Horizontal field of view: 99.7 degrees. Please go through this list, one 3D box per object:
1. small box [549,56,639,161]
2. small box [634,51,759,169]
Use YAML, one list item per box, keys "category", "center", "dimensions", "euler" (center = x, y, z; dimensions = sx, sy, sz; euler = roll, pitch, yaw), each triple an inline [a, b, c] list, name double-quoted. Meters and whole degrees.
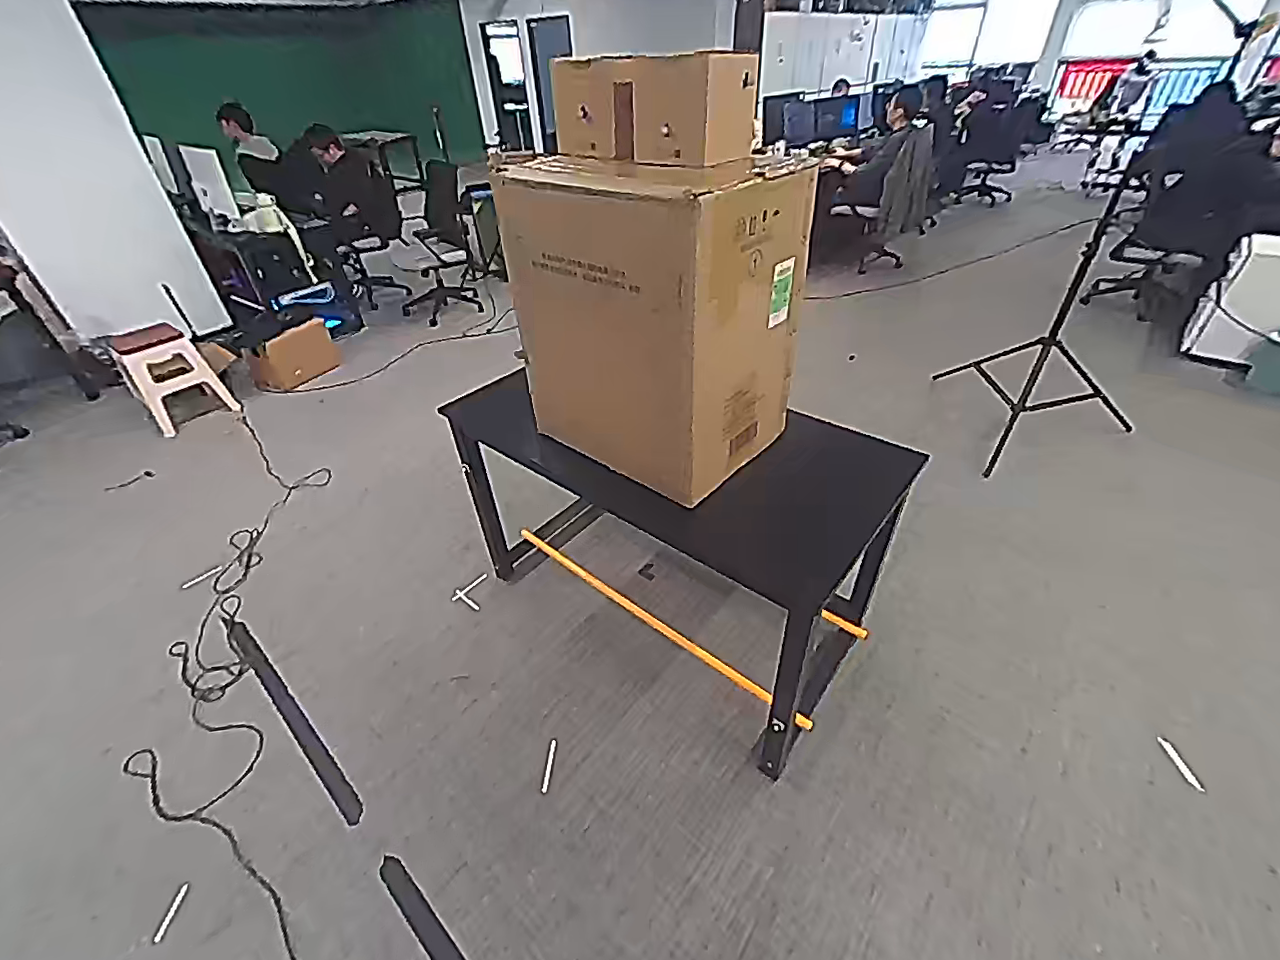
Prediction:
- category: "small box"
  center: [-0.066, -0.786, 1.145]
  dimensions: [0.168, 0.176, 0.179]
  euler: [24, 45, 29]
- category: "small box"
  center: [0.102, -0.698, 1.020]
  dimensions: [0.168, 0.176, 0.179]
  euler: [24, 44, 31]
